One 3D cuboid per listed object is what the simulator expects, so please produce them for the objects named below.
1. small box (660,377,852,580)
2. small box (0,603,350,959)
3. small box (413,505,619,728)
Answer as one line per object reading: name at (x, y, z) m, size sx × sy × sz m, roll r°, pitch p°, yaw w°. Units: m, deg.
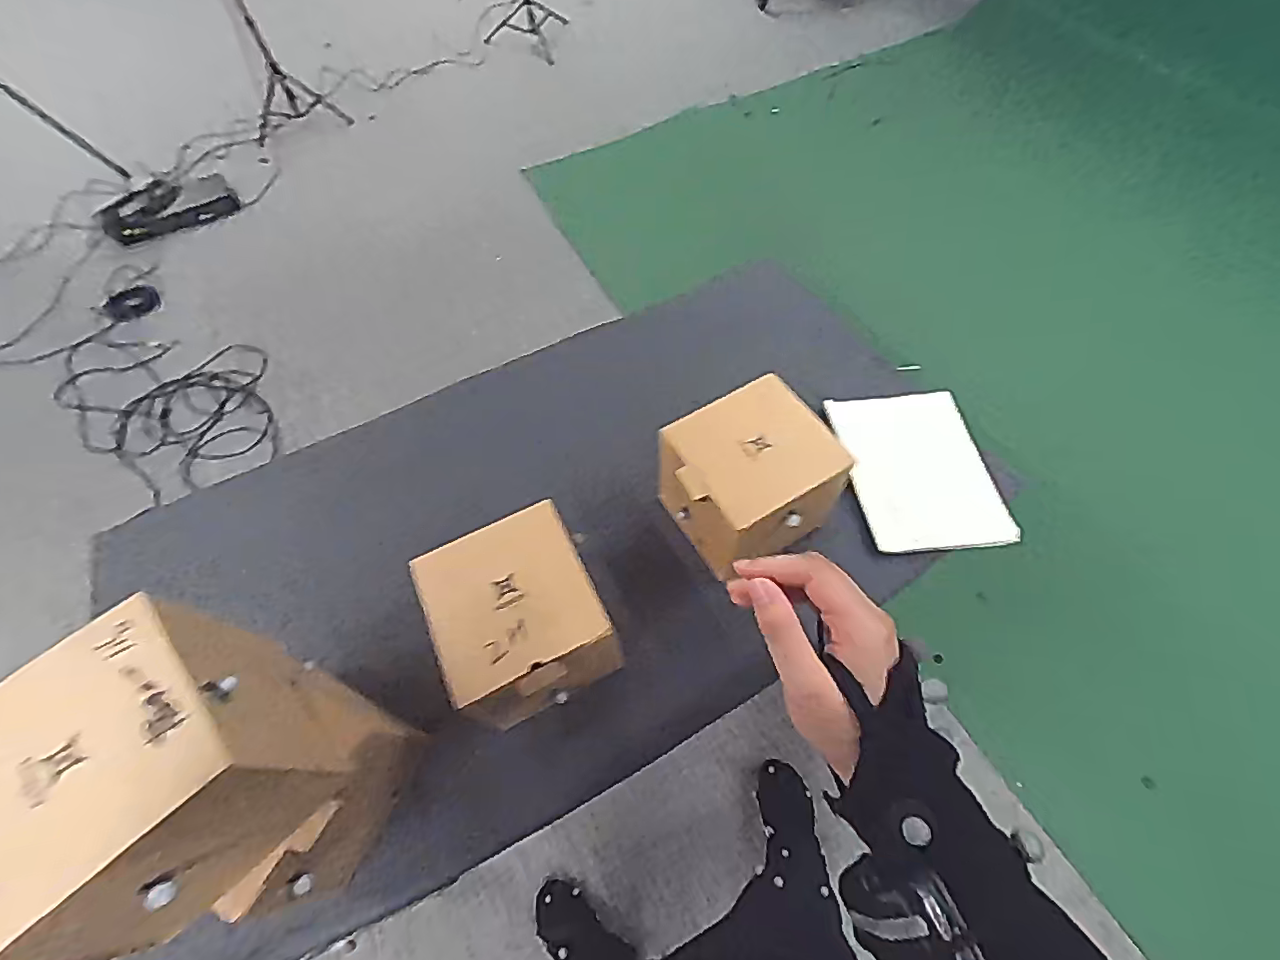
small box at (0.140, 0.002, 0.718) m, size 0.179 × 0.176 × 0.168 m, roll -29°, pitch 62°, yaw -13°
small box at (-0.374, 0.233, 0.418) m, size 0.168 × 0.176 × 0.179 m, roll 40°, pitch 70°, yaw 22°
small box at (-0.136, 0.165, 0.636) m, size 0.168 × 0.176 × 0.179 m, roll -26°, pitch 62°, yaw -11°
